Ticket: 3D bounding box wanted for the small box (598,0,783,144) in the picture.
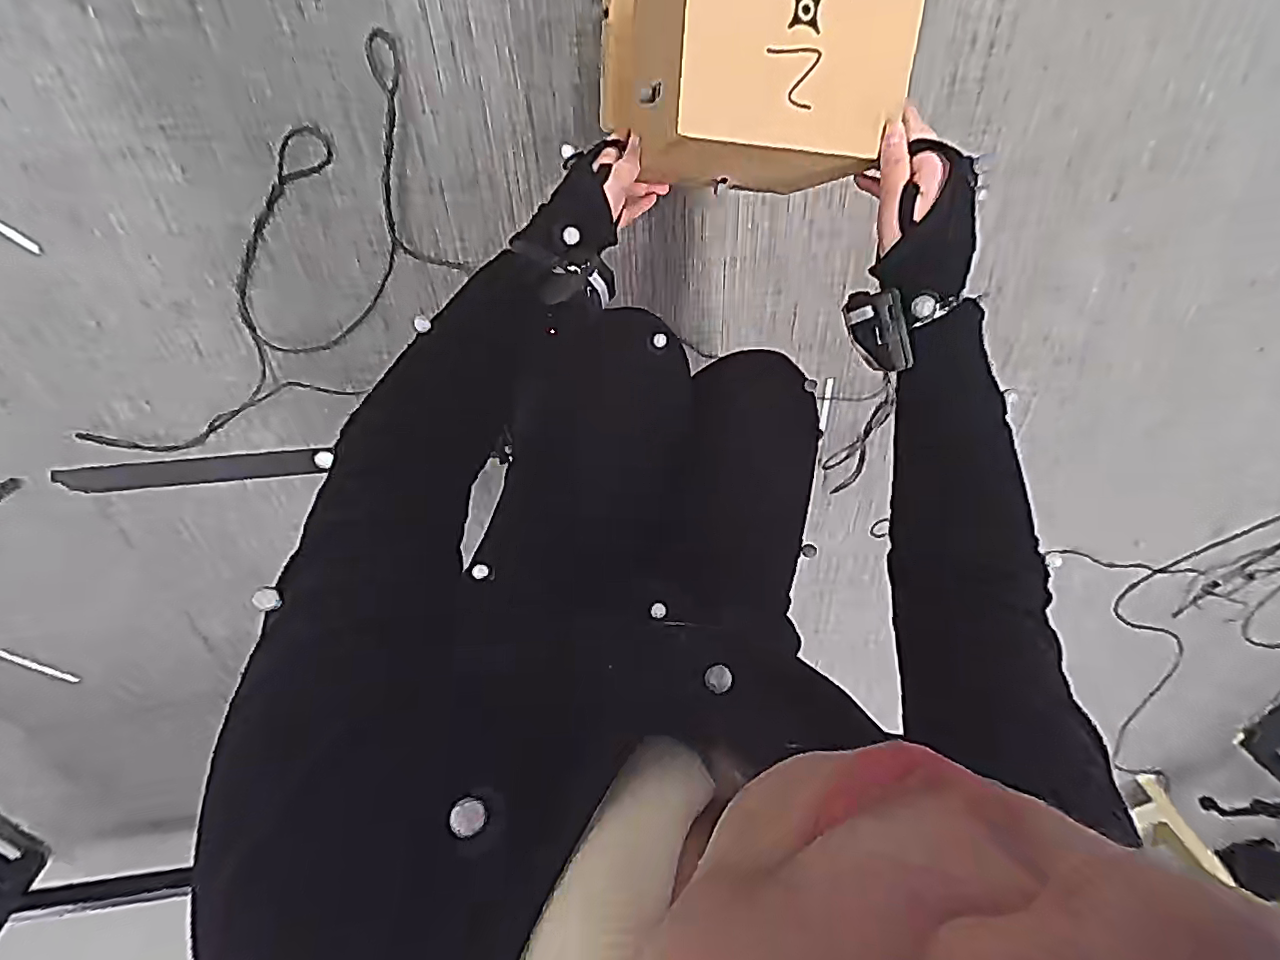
[{"bbox_3d":[0.044,-0.482,0.609,0.179,0.176,0.168,-1,123,-8],"label":"small box"}]
